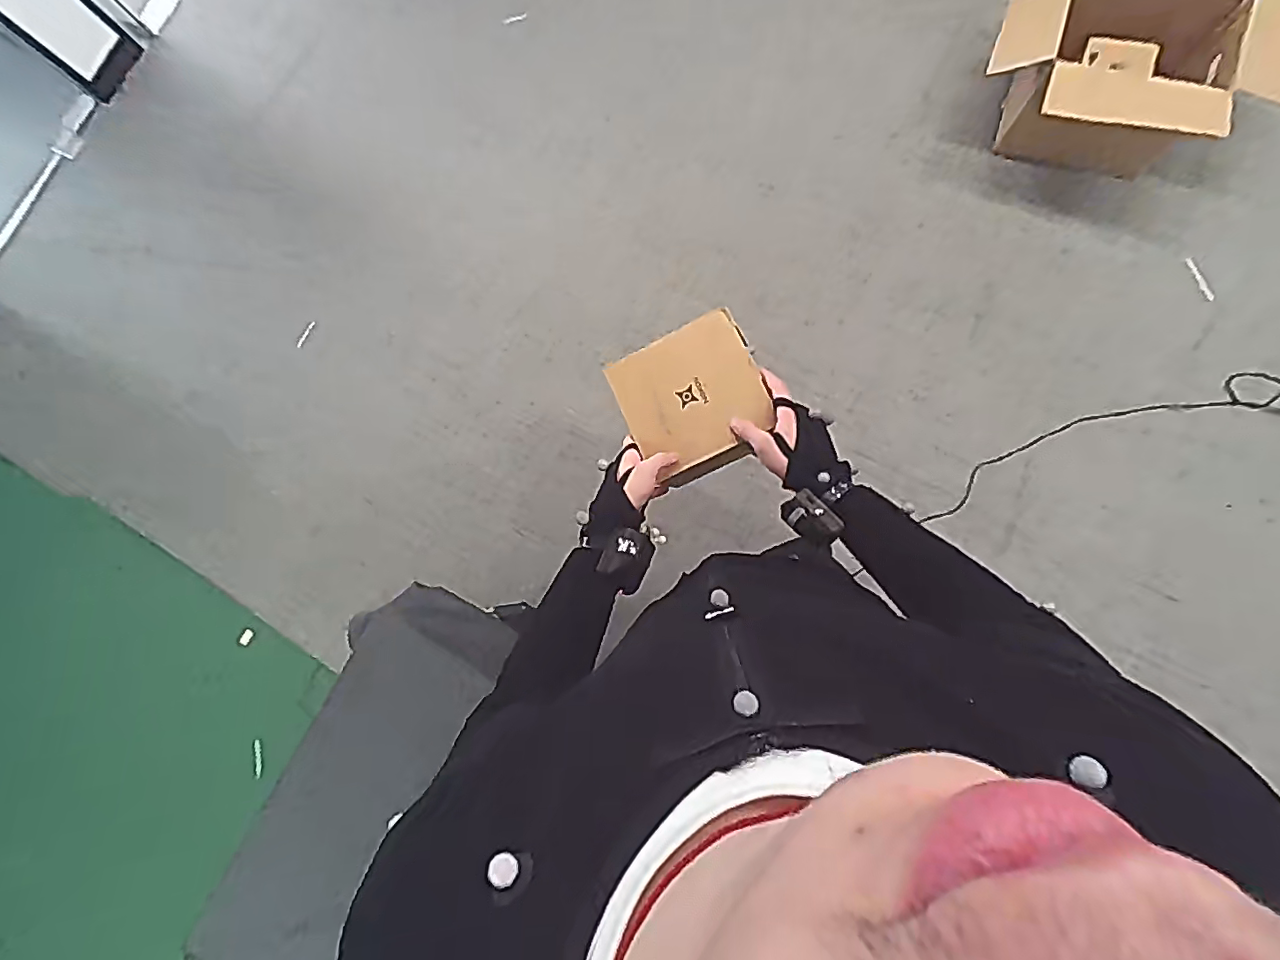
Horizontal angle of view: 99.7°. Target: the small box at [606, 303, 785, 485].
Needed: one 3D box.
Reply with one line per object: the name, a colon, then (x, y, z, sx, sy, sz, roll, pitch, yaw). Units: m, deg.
small box: (0.079, -0.102, 0.730, 0.179, 0.176, 0.168, -24, 80, 11)
